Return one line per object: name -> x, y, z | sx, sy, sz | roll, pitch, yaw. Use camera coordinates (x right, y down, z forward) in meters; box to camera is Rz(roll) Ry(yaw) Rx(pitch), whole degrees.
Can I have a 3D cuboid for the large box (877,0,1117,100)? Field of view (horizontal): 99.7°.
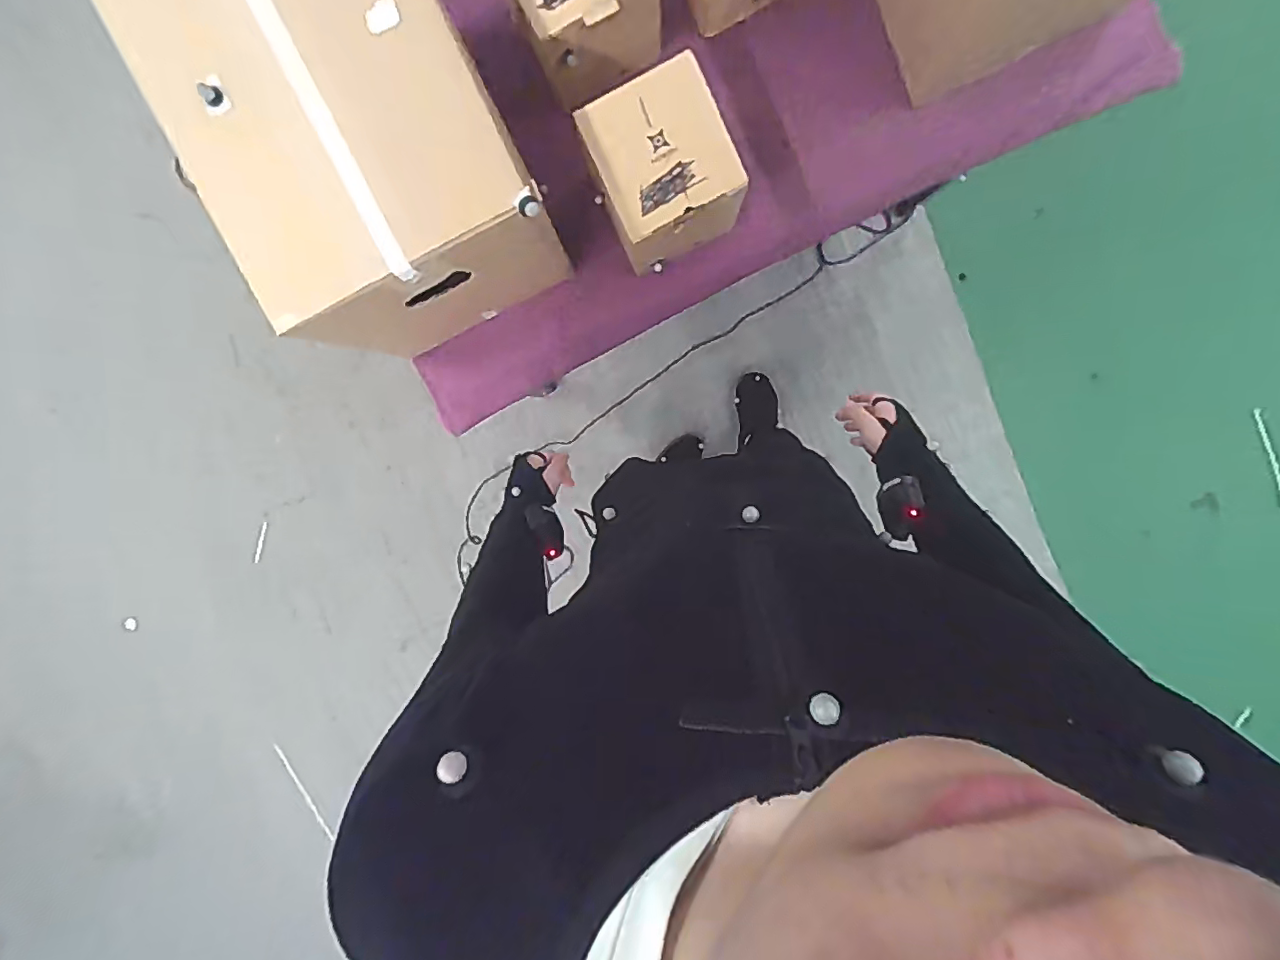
large box -> 0.454, -0.774, 0.616 | 0.320, 0.320, 0.408 | -25, 97, 6
